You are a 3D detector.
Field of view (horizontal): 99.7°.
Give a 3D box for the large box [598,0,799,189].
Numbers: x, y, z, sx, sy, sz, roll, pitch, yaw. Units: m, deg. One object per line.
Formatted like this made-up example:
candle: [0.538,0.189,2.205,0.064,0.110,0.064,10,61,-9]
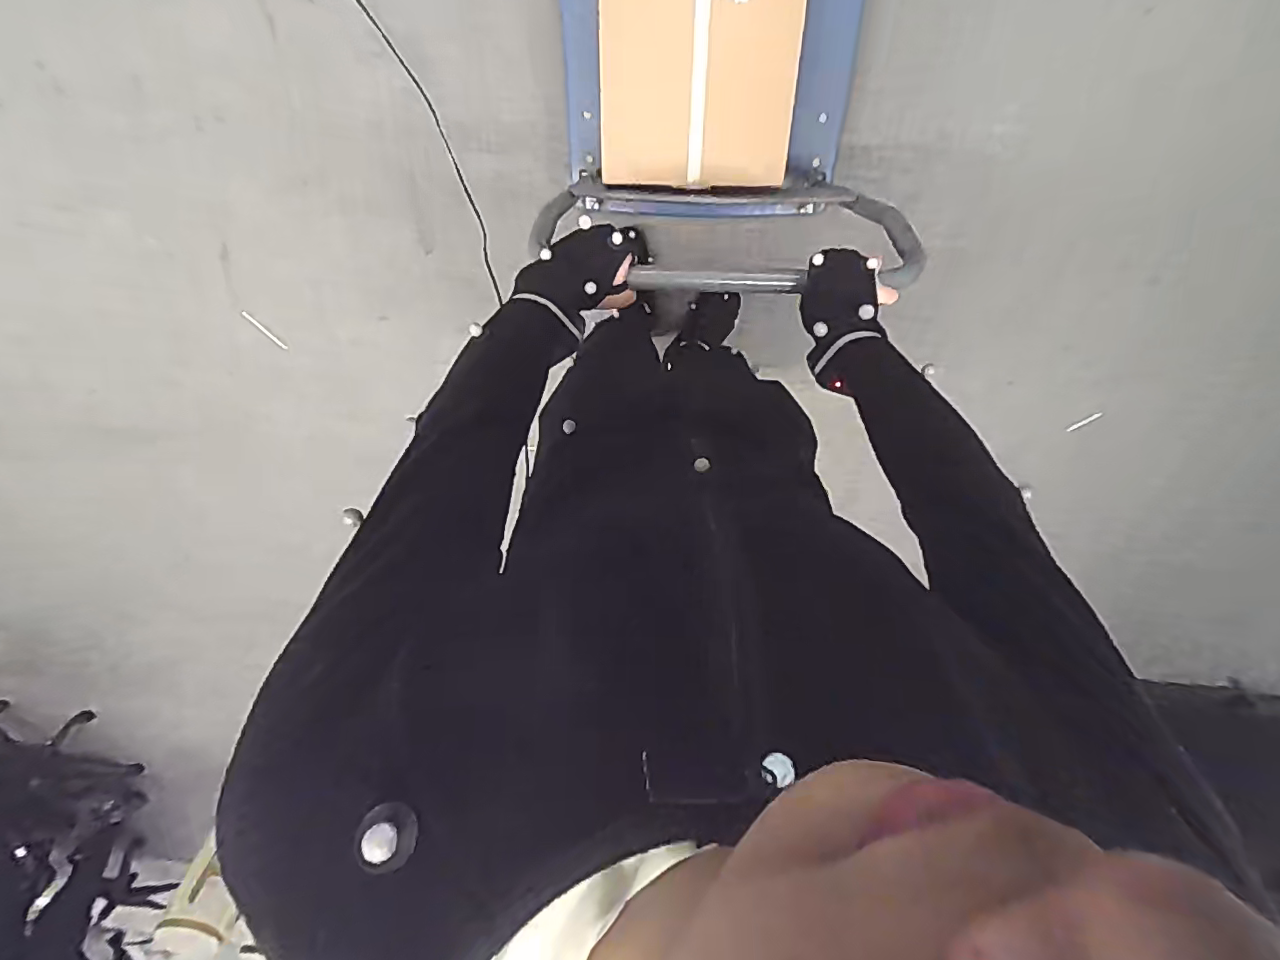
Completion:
large box: [0.098,-0.759,0.981,0.320,0.320,0.408,2,118,2]
